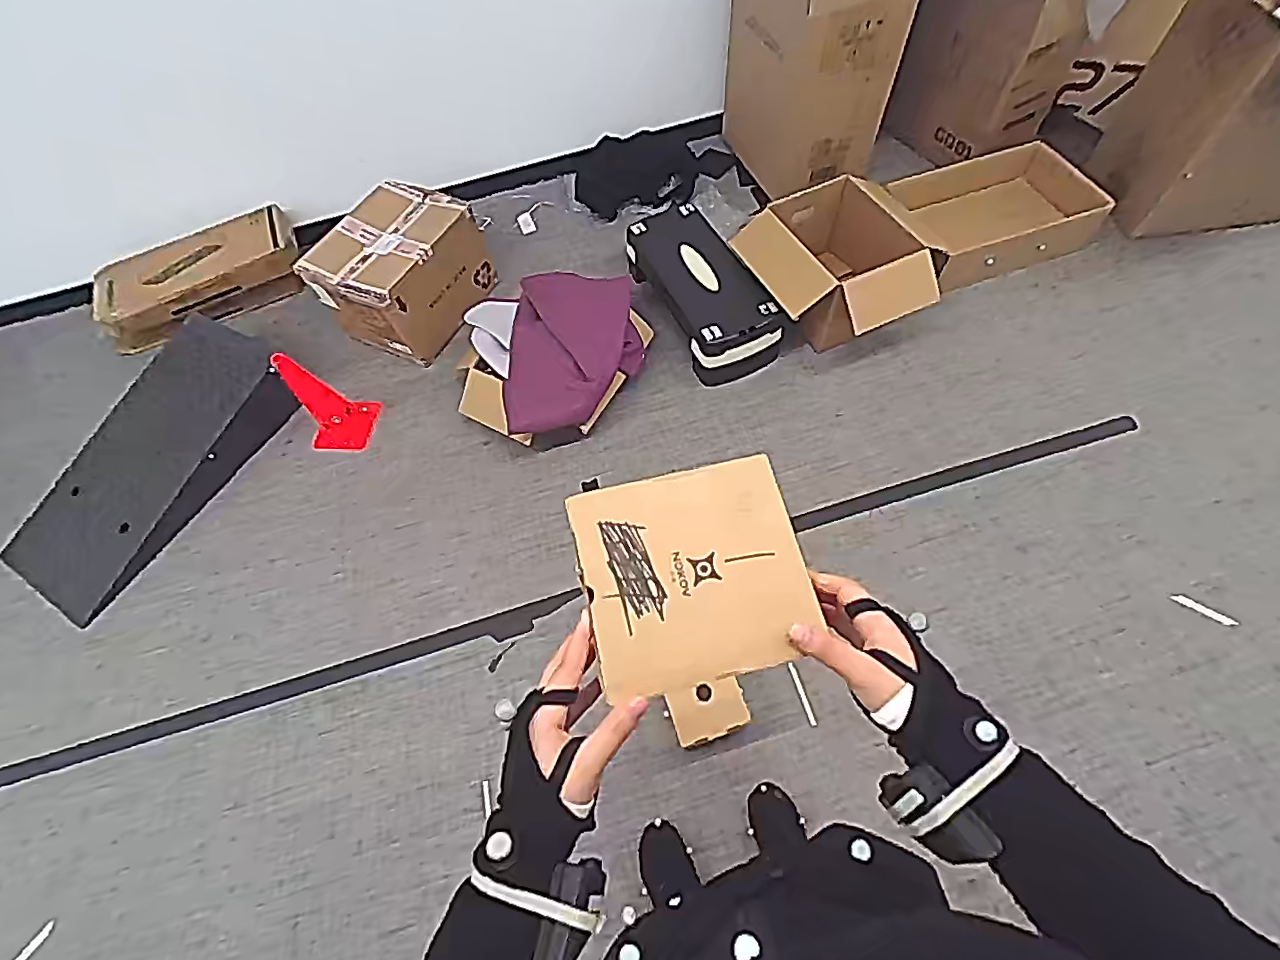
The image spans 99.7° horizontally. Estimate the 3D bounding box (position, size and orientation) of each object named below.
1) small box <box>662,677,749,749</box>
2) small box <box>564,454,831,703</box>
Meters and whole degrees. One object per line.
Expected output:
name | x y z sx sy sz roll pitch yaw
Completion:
small box | 0.144 0.512 1.267 0.168 0.176 0.179 -18 62 -4
small box | 0.040 0.097 0.490 0.179 0.176 0.168 -12 70 -5
